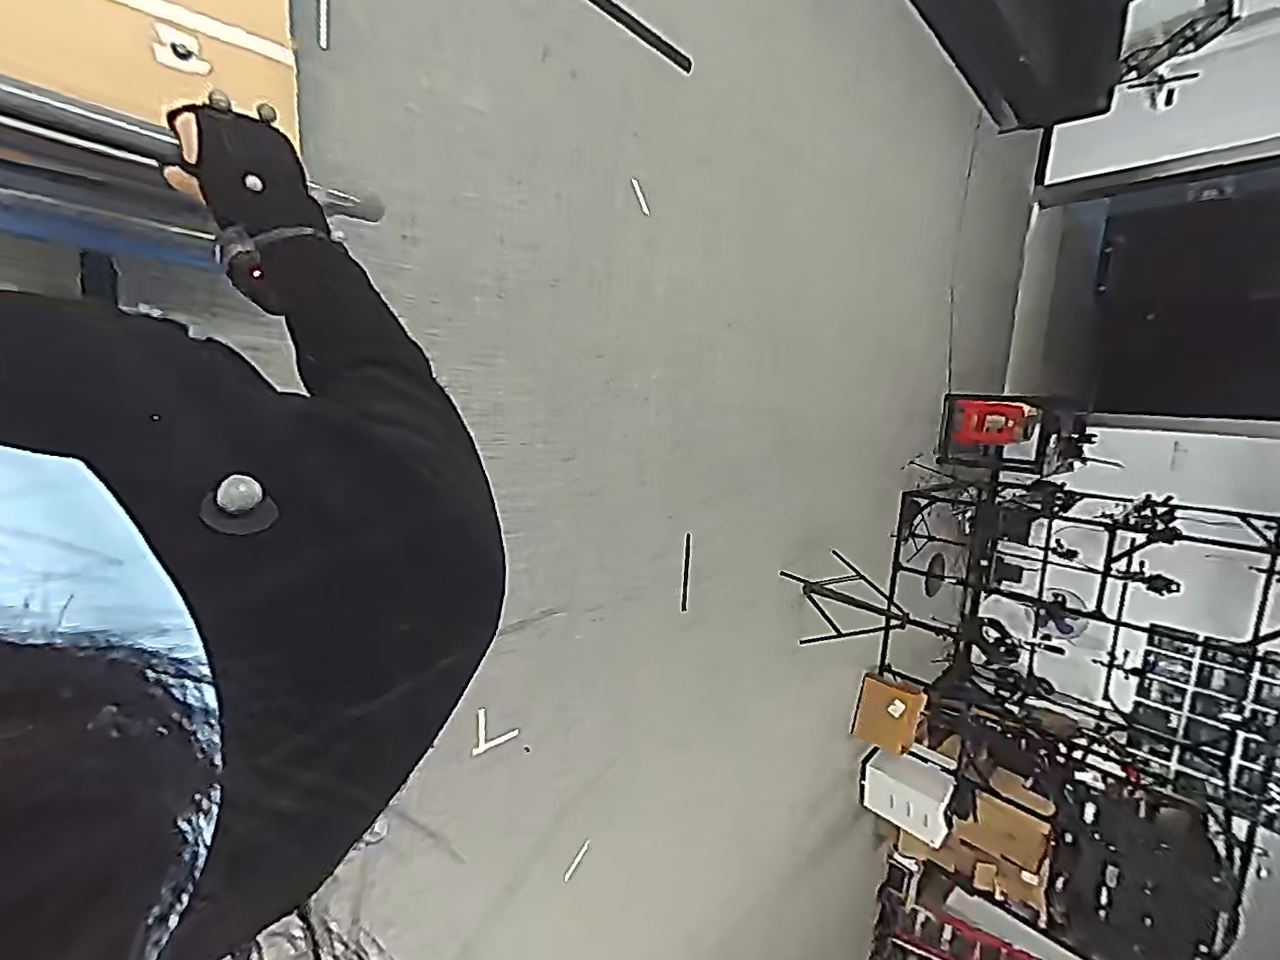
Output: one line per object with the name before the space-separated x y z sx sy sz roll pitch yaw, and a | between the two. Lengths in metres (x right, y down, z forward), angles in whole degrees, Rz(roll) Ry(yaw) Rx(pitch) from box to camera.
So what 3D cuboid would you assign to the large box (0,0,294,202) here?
large box | -0.788 -0.648 0.790 0.408 0.320 0.320 -7 104 -45
